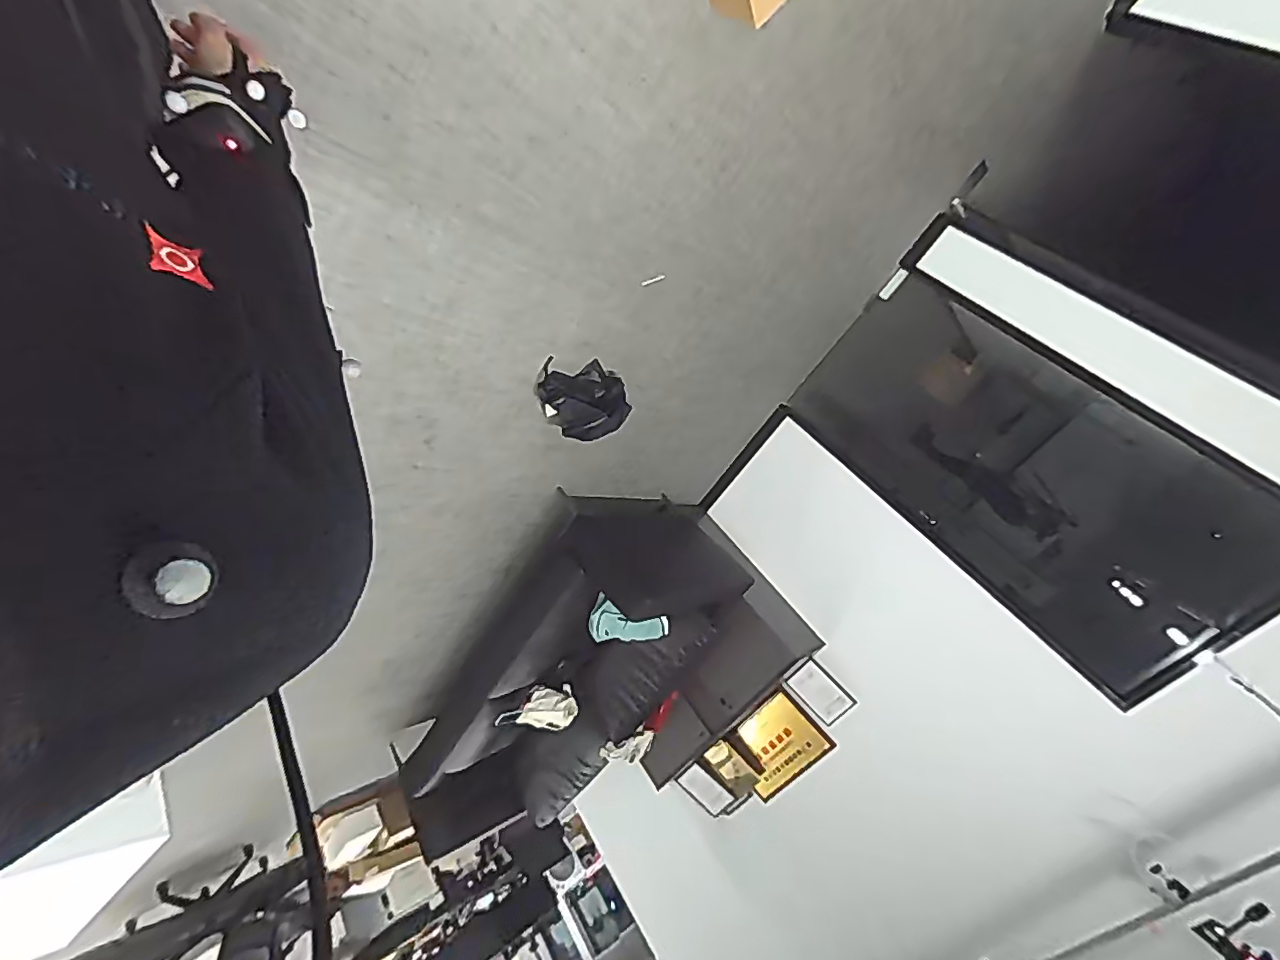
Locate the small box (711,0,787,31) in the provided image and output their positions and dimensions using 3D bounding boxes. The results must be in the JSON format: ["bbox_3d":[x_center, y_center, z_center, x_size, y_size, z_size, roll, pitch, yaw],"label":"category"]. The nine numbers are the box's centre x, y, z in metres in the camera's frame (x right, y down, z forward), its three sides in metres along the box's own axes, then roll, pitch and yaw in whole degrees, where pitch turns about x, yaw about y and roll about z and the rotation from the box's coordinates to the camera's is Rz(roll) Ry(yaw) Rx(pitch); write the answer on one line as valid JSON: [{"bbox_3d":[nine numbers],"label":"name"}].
[{"bbox_3d":[0.254,-1.191,1.228,0.168,0.176,0.179,-43,151,6],"label":"small box"}]
